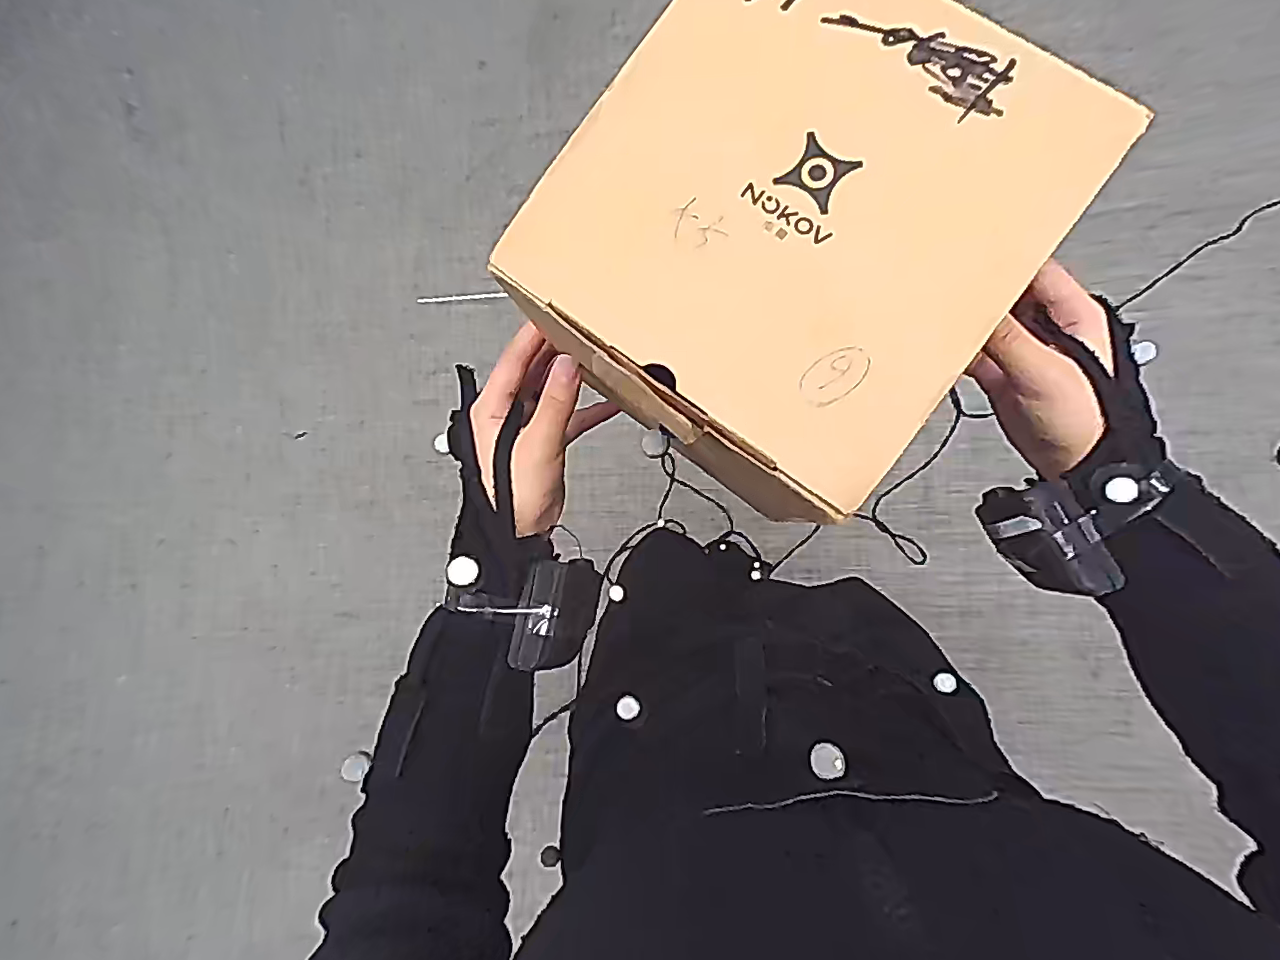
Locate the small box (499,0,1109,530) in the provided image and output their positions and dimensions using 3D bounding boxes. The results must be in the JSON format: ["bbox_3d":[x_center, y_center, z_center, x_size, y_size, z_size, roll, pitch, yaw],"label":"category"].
[{"bbox_3d":[0.066,-0.090,0.286,0.168,0.176,0.179,37,90,8],"label":"small box"}]
